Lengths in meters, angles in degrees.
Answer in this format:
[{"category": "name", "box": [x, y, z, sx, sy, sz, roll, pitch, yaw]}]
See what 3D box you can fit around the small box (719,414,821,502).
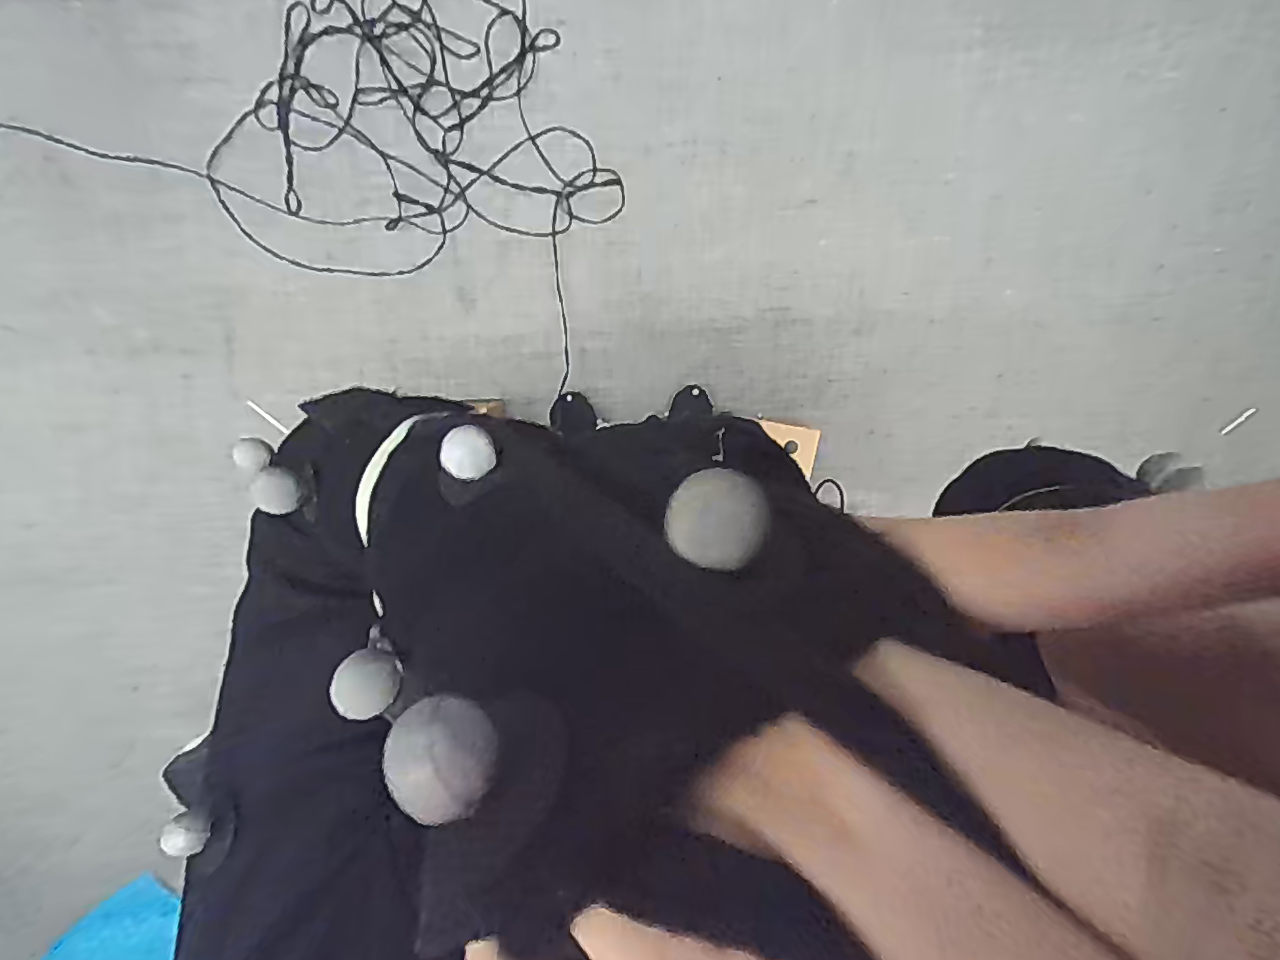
[{"category": "small box", "box": [0.297, -0.058, 1.272, 0.179, 0.176, 0.168, 8, 102, -3]}]
